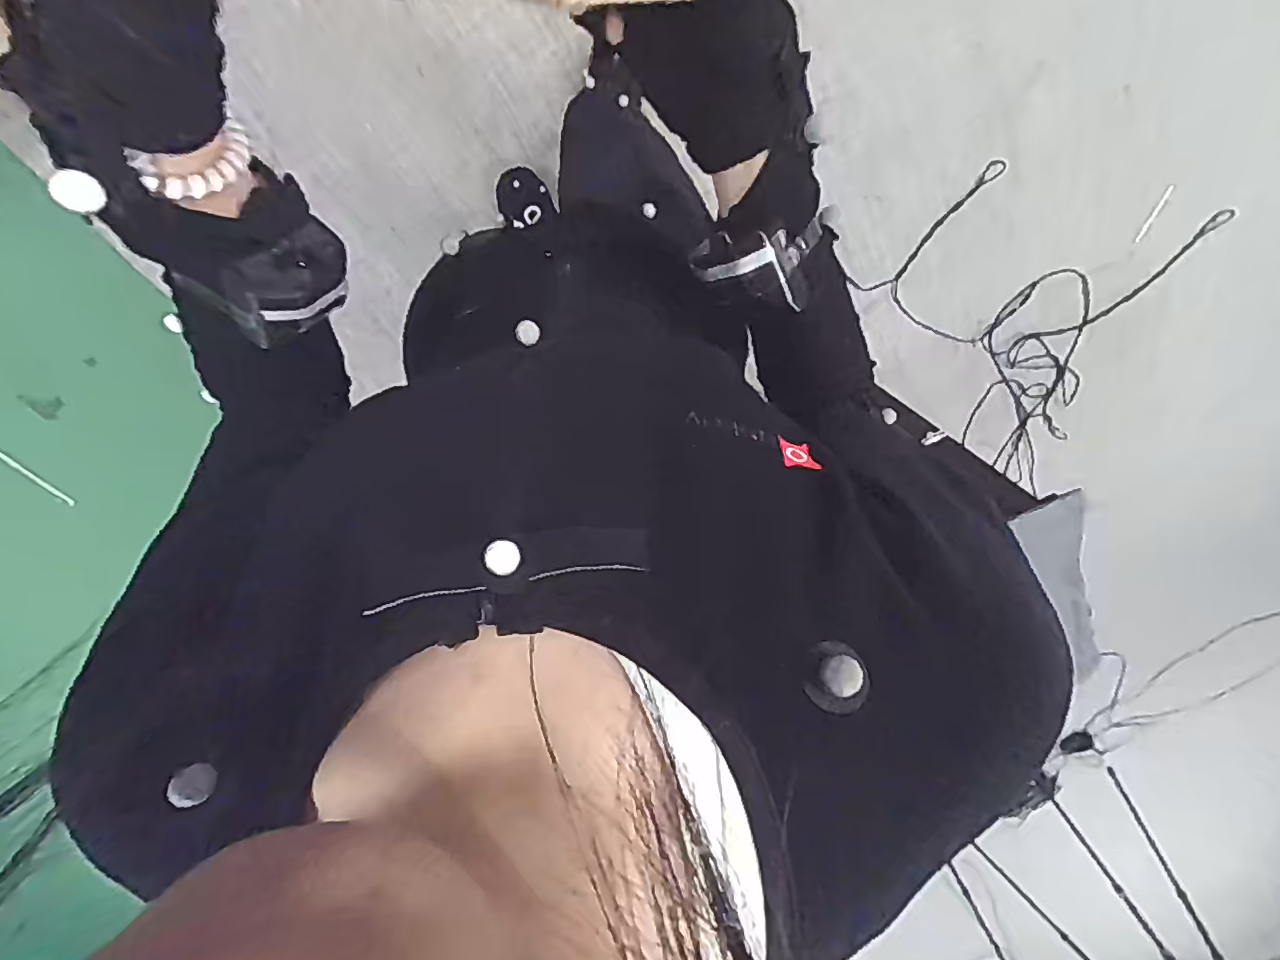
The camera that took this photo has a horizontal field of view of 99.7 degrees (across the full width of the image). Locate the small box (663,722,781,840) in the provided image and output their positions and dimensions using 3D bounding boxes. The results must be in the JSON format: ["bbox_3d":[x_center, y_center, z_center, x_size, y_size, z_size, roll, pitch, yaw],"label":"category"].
[{"bbox_3d":[0.167,0.632,1.107,0.168,0.176,0.179,-32,121,10],"label":"small box"}]

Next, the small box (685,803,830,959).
[{"bbox_3d":[0.204,0.719,0.974,0.179,0.176,0.168,-32,121,11],"label":"small box"}]
